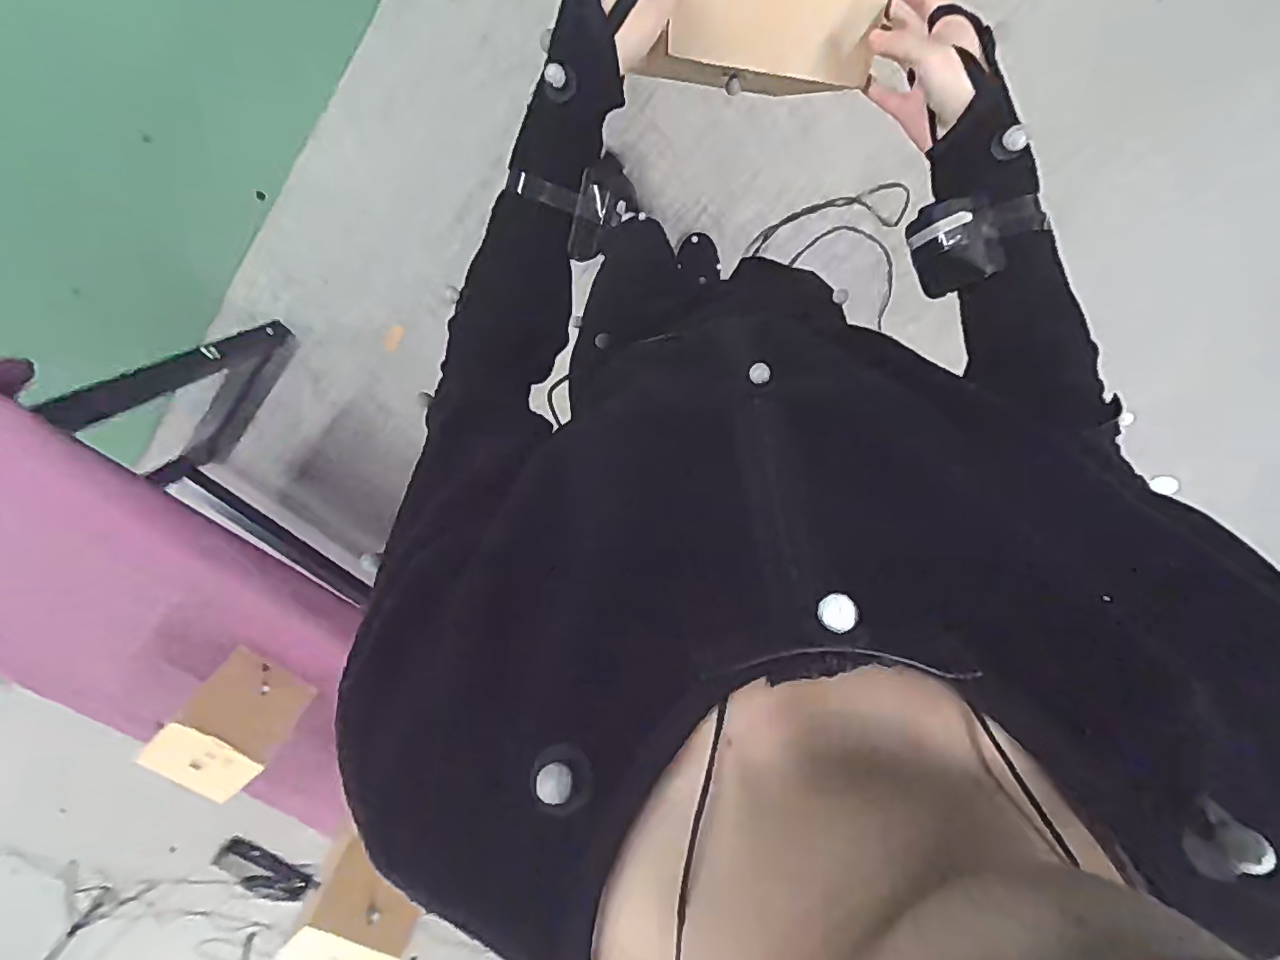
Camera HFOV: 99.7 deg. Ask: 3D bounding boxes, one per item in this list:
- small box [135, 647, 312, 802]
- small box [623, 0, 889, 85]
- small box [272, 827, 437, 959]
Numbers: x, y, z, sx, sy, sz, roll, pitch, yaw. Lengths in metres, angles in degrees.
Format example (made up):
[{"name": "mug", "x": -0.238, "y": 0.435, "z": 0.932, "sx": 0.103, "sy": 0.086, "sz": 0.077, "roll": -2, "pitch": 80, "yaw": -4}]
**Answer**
[{"name": "small box", "x": -0.756, "y": 0.448, "z": 1.000, "sx": 0.179, "sy": 0.176, "sz": 0.168, "roll": -39, "pitch": 110, "yaw": 21}, {"name": "small box", "x": 0.090, "y": -0.432, "z": 0.434, "sx": 0.179, "sy": 0.176, "sz": 0.168, "roll": -2, "pitch": 123, "yaw": -15}, {"name": "small box", "x": -0.504, "y": 0.765, "z": 0.977, "sx": 0.179, "sy": 0.176, "sz": 0.168, "roll": 35, "pitch": 114, "yaw": -16}]
